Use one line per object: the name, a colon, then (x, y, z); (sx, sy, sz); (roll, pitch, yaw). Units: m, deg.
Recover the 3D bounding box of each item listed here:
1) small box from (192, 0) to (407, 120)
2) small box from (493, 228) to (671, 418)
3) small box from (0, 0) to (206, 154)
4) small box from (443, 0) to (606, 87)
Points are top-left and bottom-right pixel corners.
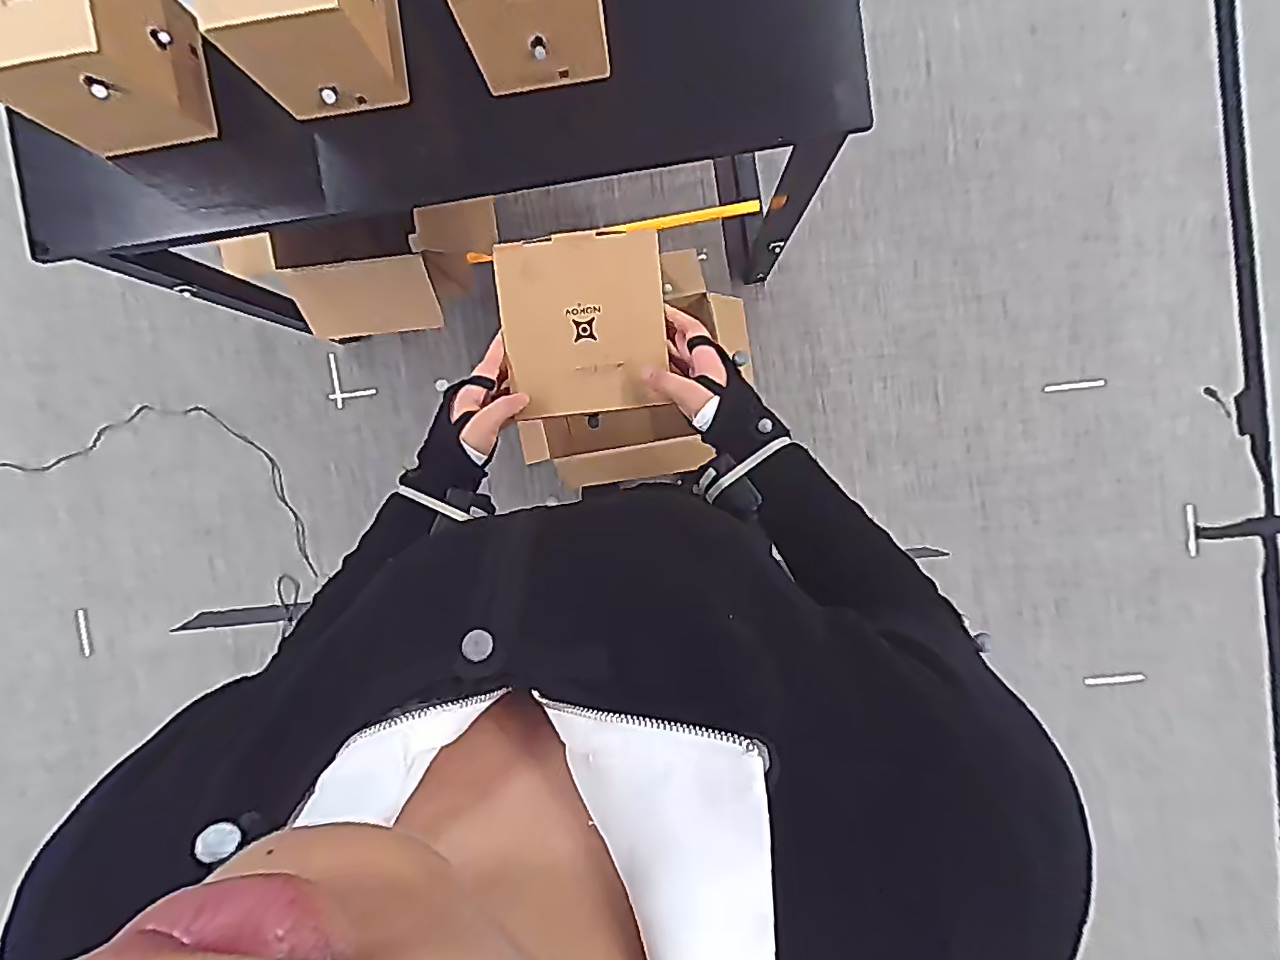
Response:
small box: (-0.414, -0.593, 0.670); (0.168, 0.176, 0.179); (-6, 93, 3)
small box: (-0.058, -0.165, 0.623); (0.168, 0.176, 0.179); (-6, 97, 1)
small box: (-0.695, -0.548, 0.682); (0.179, 0.176, 0.168); (-8, 92, 2)
small box: (-0.139, -0.618, 0.658); (0.168, 0.176, 0.179); (-7, 93, 3)
